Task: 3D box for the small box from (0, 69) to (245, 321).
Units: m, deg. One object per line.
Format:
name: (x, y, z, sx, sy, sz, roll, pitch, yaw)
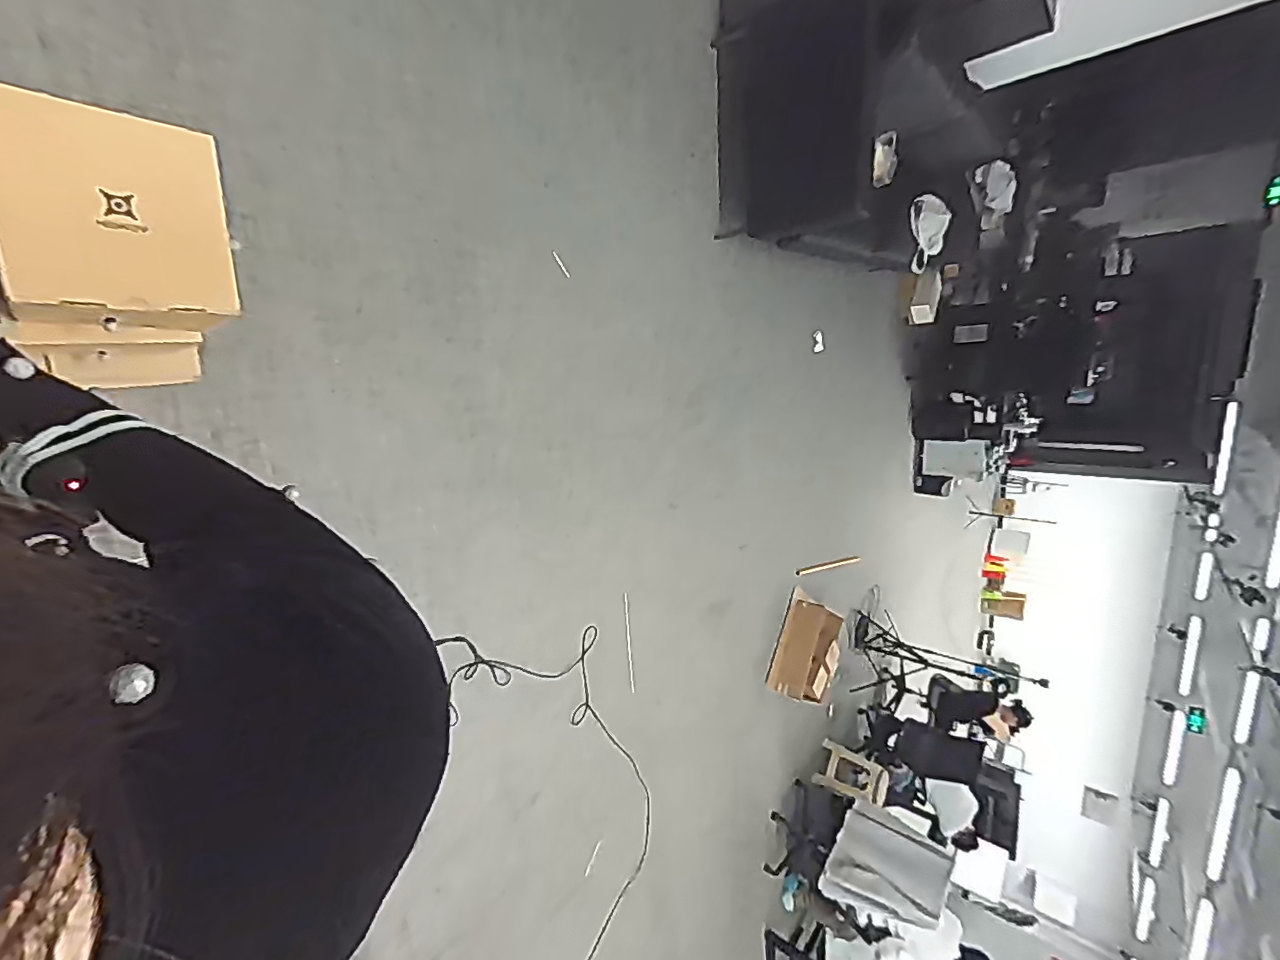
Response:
small box: (-0.539, -0.269, 0.559, 0.168, 0.176, 0.179, -12, 105, -47)
